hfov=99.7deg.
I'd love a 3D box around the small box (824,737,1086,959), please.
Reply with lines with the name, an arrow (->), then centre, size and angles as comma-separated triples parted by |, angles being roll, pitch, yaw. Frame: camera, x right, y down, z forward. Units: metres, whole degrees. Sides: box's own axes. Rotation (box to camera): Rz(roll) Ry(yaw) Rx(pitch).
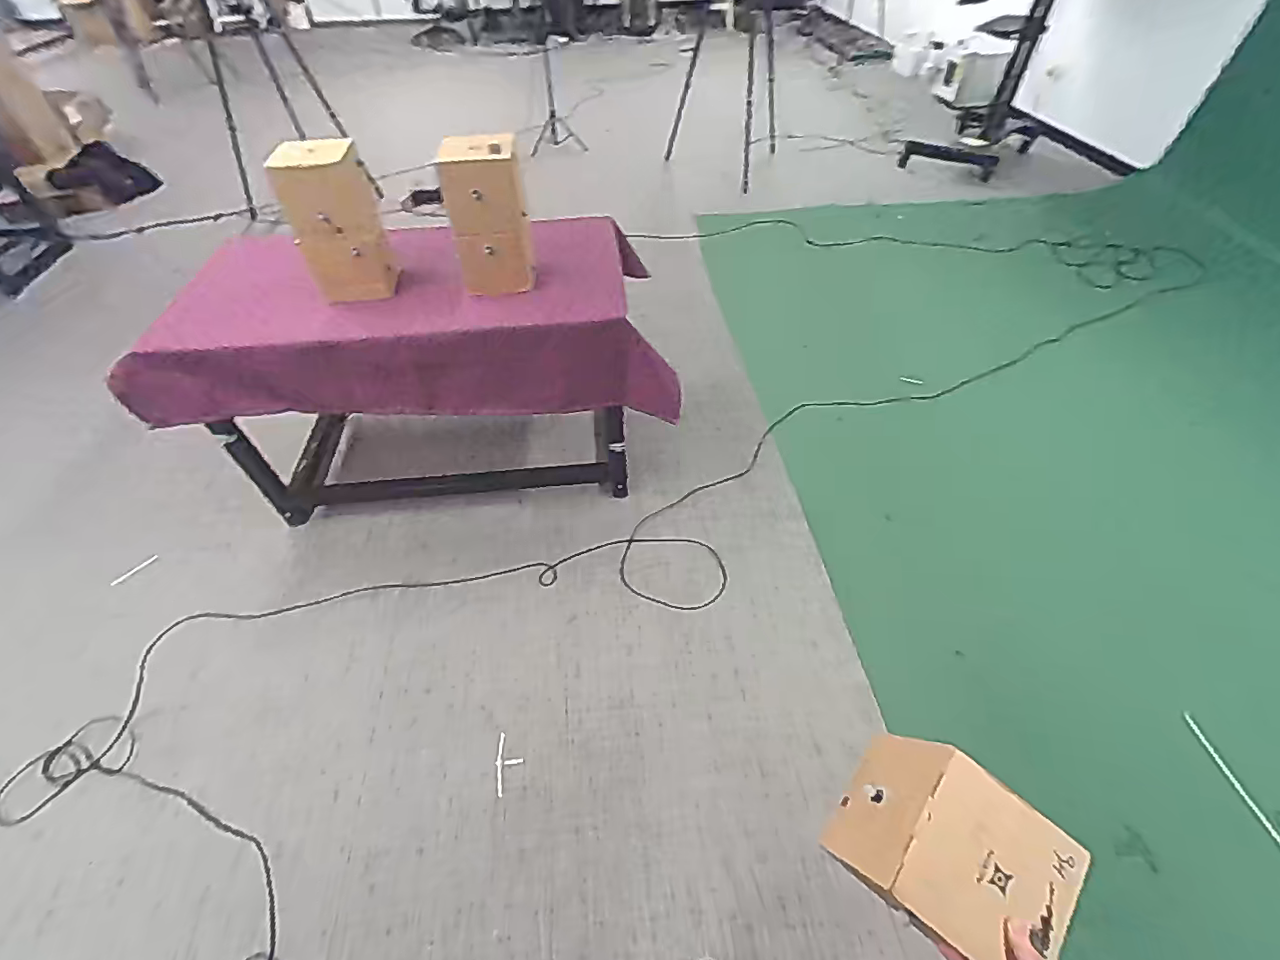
small box -> 0.350, 0.426, 0.633 | 0.179, 0.176, 0.168 | 38, 70, 7

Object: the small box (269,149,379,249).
small box -> -0.763, -0.690, 1.330 | 0.168, 0.176, 0.179 | -8, 48, -5

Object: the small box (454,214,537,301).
small box -> -0.380, -0.597, 1.455 | 0.179, 0.176, 0.168 | -4, 49, -3

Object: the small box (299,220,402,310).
small box -> -0.763, -0.572, 1.446 | 0.179, 0.176, 0.168 | -8, 48, -6

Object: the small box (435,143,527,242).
small box -> -0.380, -0.705, 1.331 | 0.179, 0.176, 0.168 | -5, 49, -2
